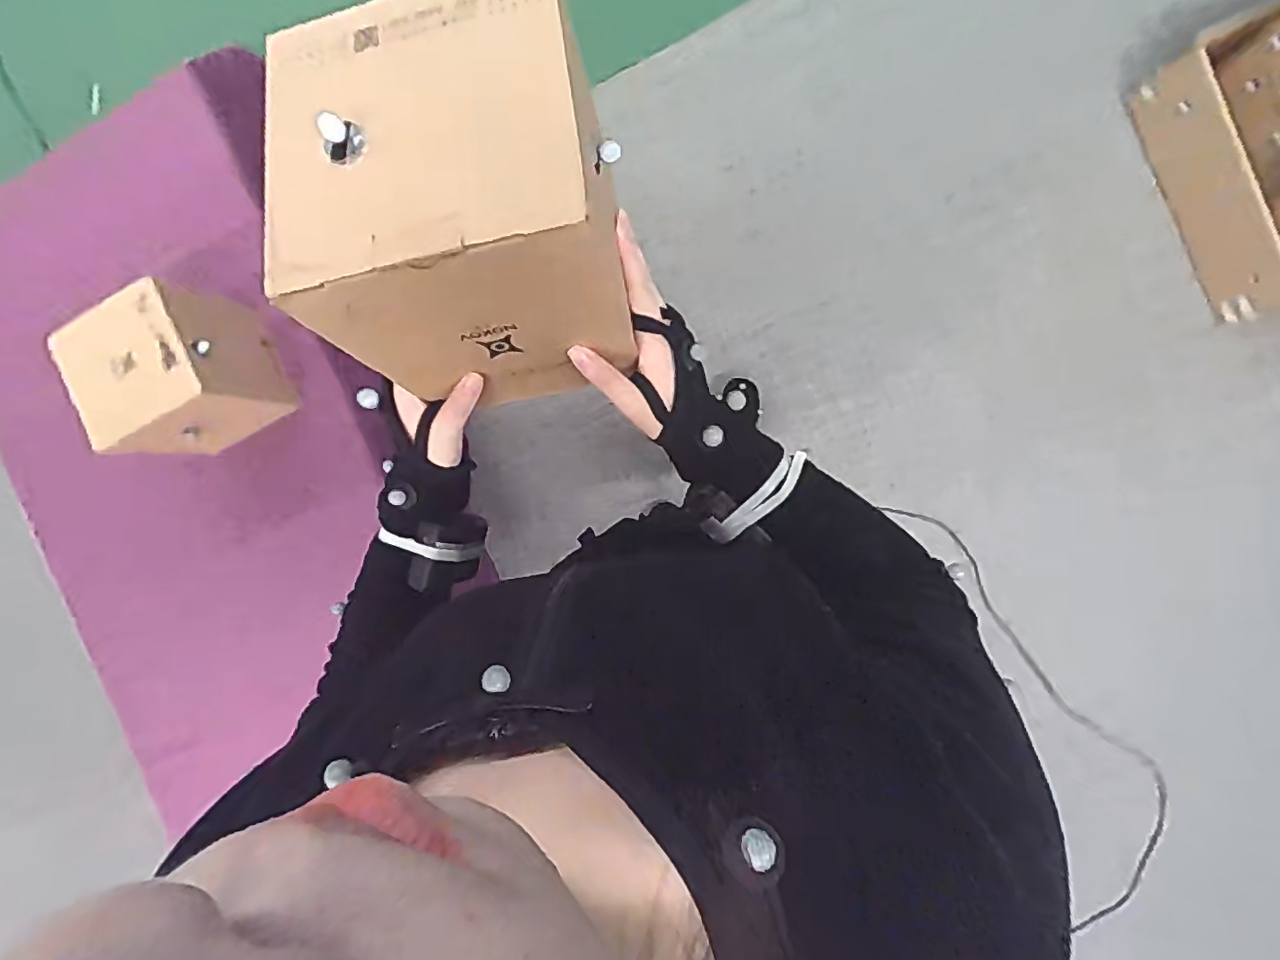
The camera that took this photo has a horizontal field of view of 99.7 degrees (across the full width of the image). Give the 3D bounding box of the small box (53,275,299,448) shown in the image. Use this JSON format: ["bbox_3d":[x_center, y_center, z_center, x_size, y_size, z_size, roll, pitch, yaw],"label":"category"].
[{"bbox_3d":[-0.639,-0.153,0.764,0.179,0.176,0.168,-26,90,9],"label":"small box"}]

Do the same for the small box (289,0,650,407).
[{"bbox_3d":[-0.093,-0.166,0.354,0.168,0.179,0.176,-8,78,7],"label":"small box"}]

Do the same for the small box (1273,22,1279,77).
[{"bbox_3d":[1.340,-0.845,0.992,0.179,0.176,0.168,-16,91,7],"label":"small box"}]
